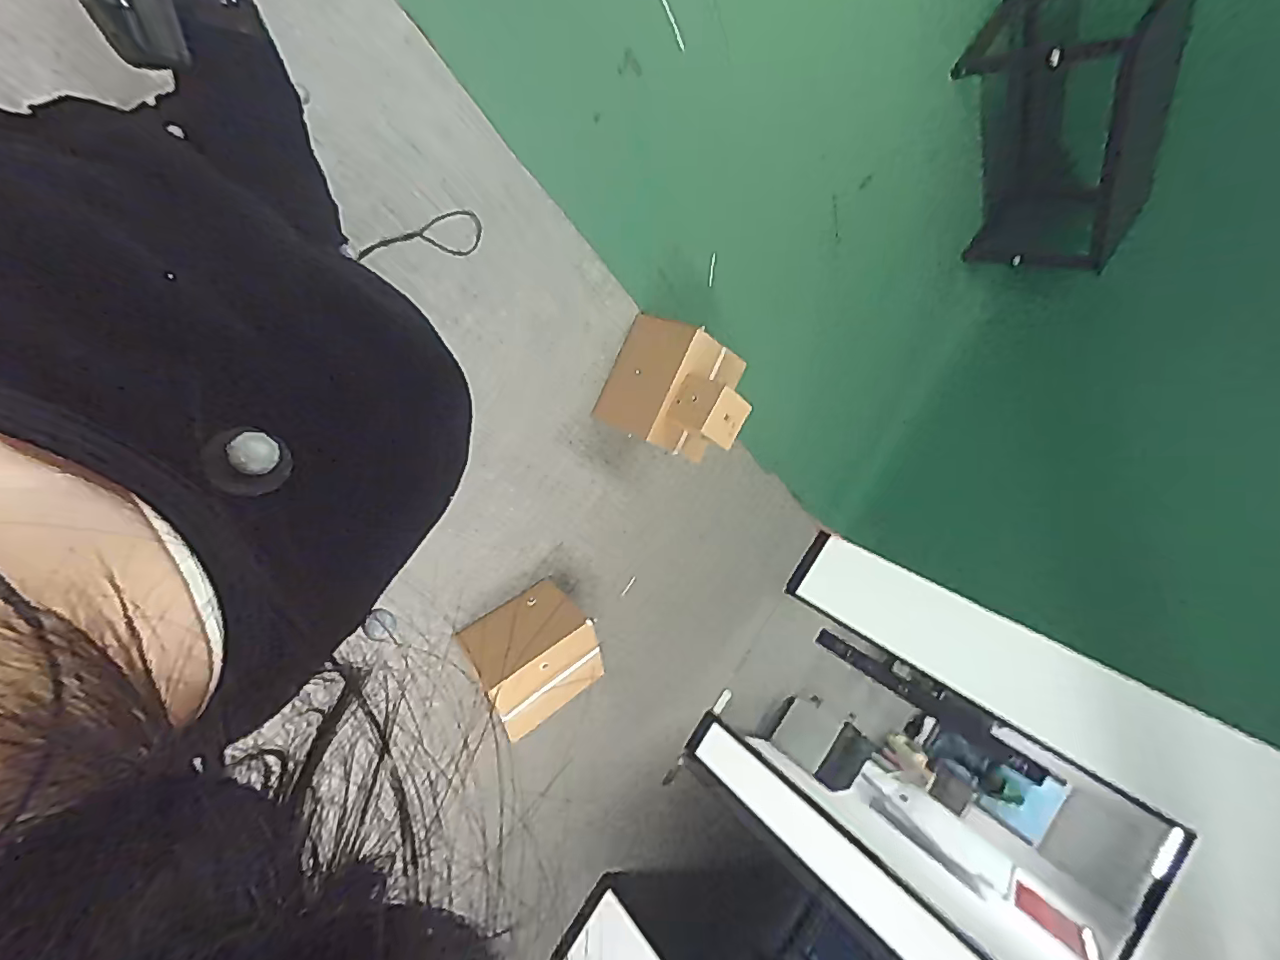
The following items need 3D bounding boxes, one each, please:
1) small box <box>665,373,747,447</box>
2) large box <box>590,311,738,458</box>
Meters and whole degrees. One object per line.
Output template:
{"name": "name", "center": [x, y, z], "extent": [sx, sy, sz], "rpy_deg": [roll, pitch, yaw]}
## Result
{"name": "small box", "center": [0.212, -0.234, 1.766], "extent": [0.179, 0.176, 0.168], "rpy_deg": [27, 92, -48]}
{"name": "large box", "center": [0.081, -0.341, 1.951], "extent": [0.320, 0.320, 0.408], "rpy_deg": [19, 97, -49]}
